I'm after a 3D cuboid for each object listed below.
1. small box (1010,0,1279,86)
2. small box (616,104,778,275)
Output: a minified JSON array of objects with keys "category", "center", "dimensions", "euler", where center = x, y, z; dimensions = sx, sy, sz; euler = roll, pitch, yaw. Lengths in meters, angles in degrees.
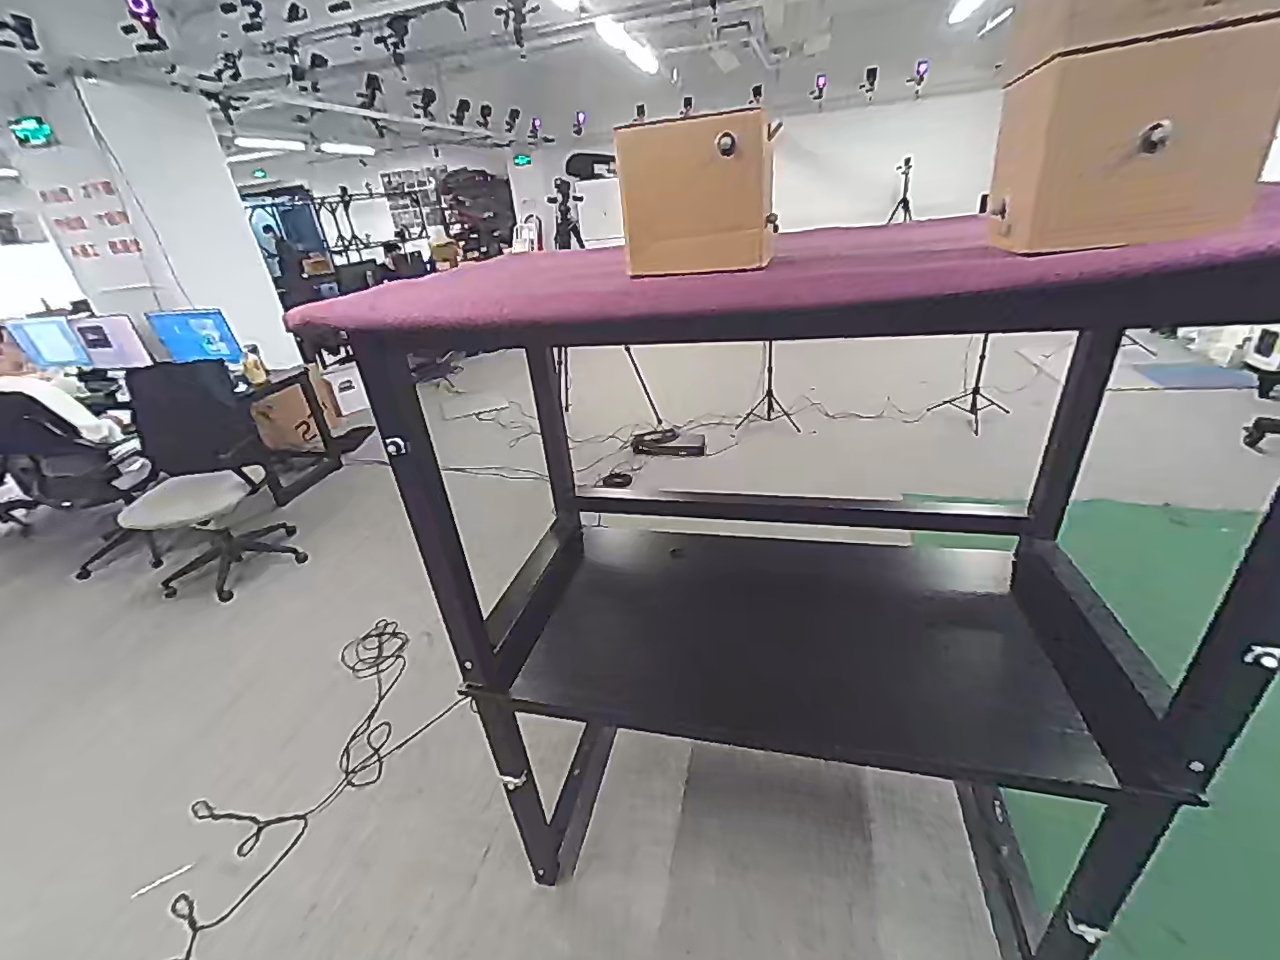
[{"category":"small box","center":[0.461,-0.481,0.484],"dimensions":[0.168,0.176,0.179],"euler":[2,26,17]},{"category":"small box","center":[0.083,-0.364,0.702],"dimensions":[0.179,0.176,0.168],"euler":[3,28,16]}]
